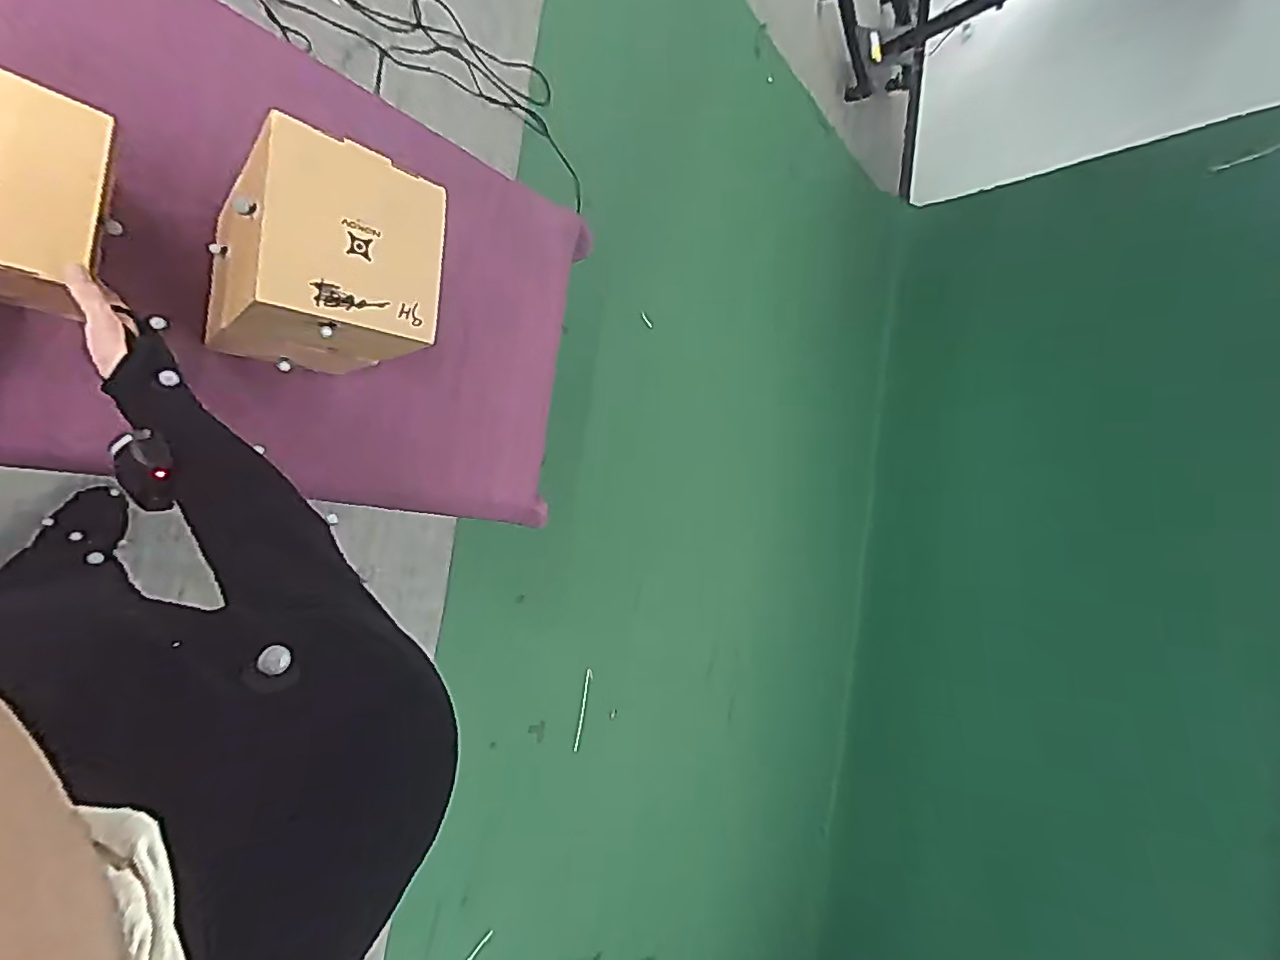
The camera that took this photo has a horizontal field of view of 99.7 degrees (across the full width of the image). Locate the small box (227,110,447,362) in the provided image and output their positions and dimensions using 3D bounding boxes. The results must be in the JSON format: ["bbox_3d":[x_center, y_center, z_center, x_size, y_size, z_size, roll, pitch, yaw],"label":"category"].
[{"bbox_3d":[-0.330,-0.240,0.588,0.168,0.176,0.179,5,88,-45],"label":"small box"}]

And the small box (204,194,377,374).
[{"bbox_3d":[-0.447,-0.246,0.703,0.168,0.176,0.179,7,88,-45],"label":"small box"}]
